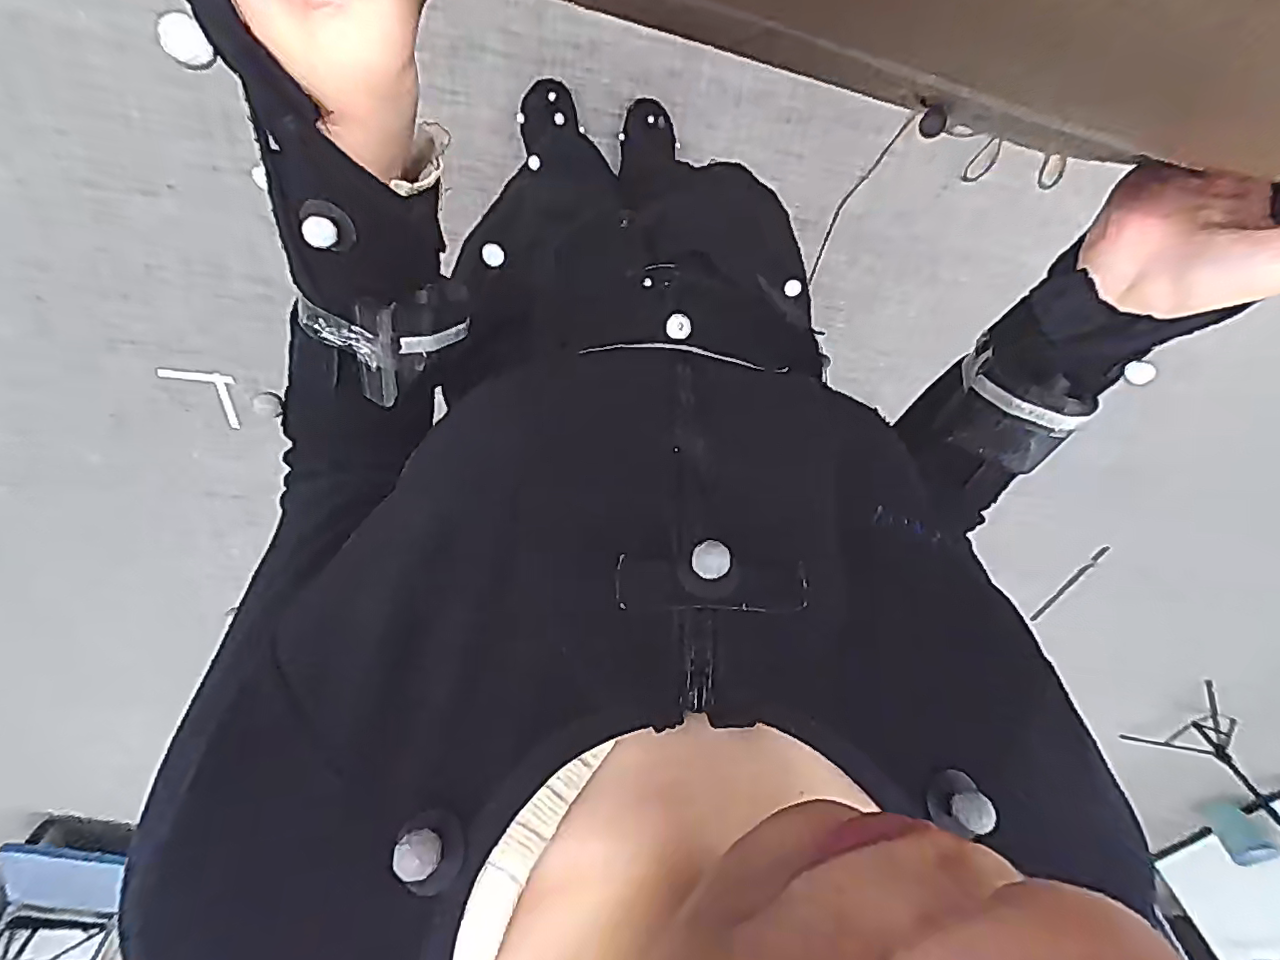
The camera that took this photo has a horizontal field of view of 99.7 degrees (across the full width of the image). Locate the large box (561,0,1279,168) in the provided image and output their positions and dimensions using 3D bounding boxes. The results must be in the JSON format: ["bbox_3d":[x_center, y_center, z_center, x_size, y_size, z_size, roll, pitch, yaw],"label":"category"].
[{"bbox_3d":[0.104,-0.292,0.117,0.408,0.320,0.320,7,125,-11],"label":"large box"}]
